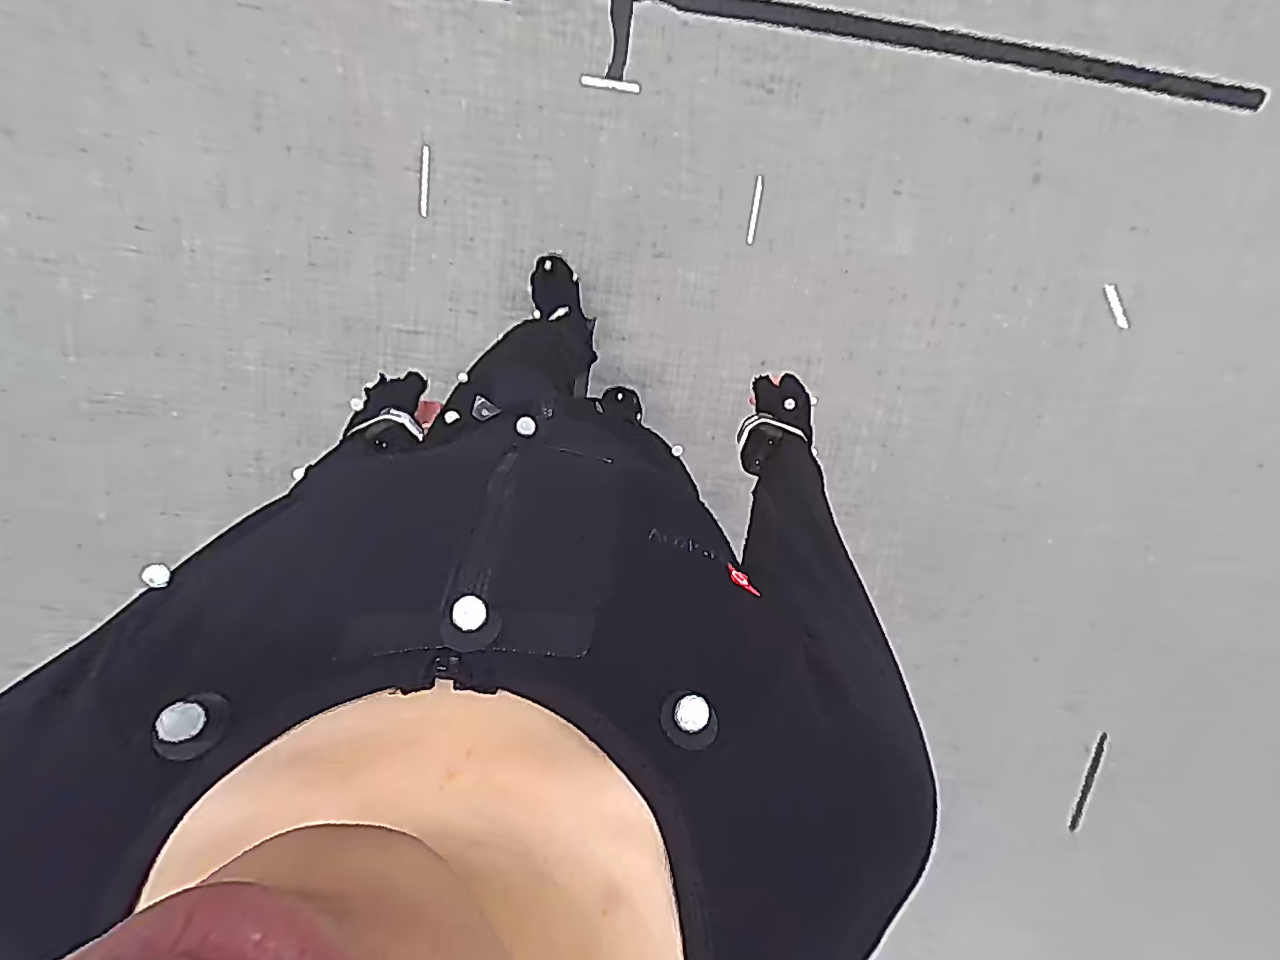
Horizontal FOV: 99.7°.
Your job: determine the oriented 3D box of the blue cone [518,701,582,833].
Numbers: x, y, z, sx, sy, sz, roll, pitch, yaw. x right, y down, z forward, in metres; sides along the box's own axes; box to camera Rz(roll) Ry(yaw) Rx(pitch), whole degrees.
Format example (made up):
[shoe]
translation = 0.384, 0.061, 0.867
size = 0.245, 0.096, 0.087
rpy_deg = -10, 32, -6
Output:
[blue cone]
translation = -0.262, 0.795, 1.484
size = 0.192, 0.380, 0.193
rpy_deg = 3, 104, -5
